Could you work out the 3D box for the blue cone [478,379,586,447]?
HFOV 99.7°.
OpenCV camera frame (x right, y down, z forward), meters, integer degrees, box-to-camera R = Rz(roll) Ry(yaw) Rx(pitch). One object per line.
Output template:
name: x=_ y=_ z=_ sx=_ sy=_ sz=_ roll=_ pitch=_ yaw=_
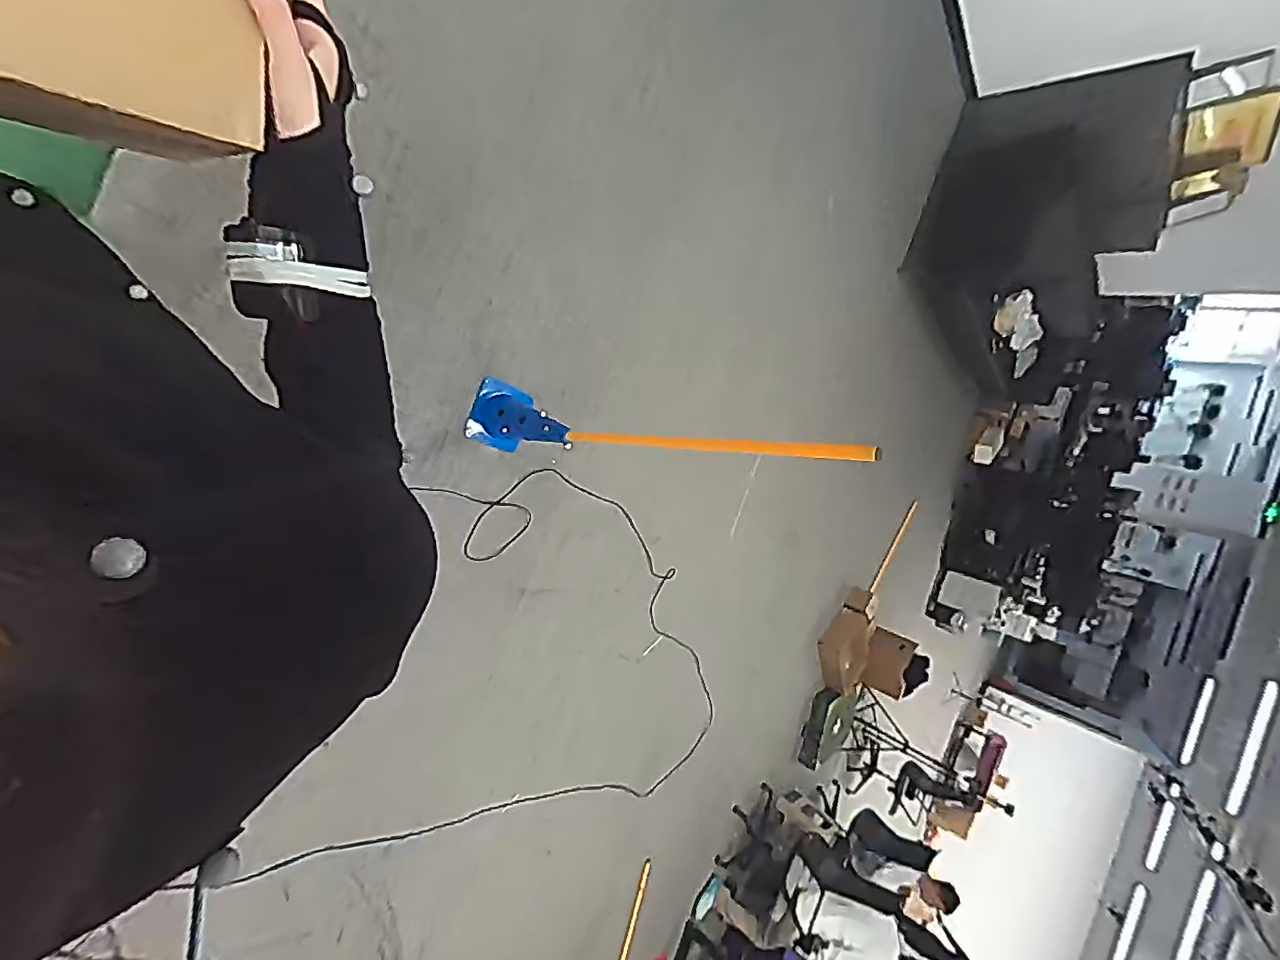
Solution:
blue cone: x=-0.301 y=-0.176 z=1.604 sx=0.192 sy=0.380 sz=0.193 roll=19 pitch=88 yaw=-48
